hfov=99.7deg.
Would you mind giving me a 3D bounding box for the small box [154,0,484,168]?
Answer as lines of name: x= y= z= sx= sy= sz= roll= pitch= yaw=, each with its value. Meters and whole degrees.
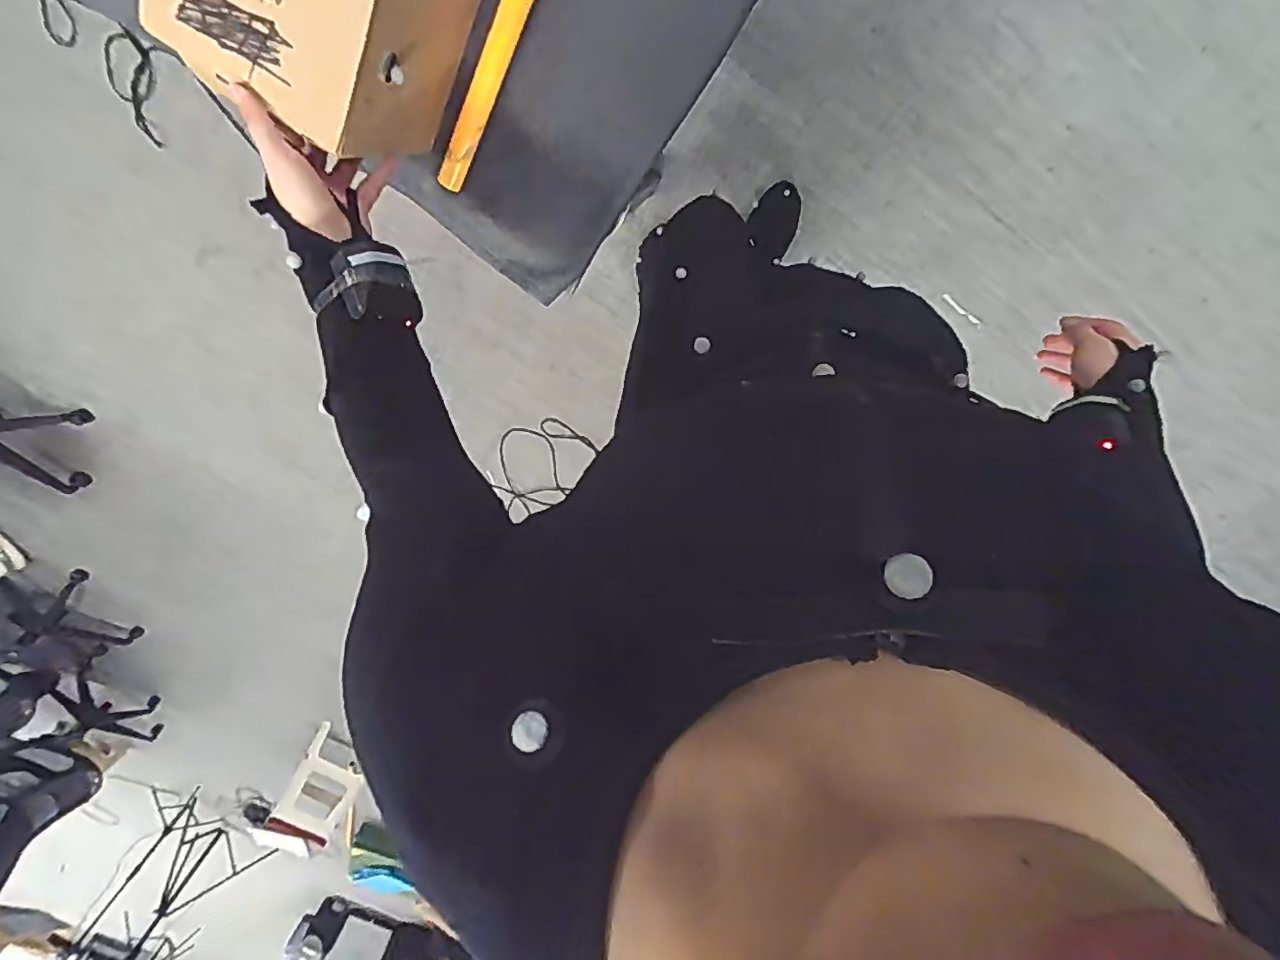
small box: x=-0.258 y=-0.403 z=0.464 sx=0.168 sy=0.176 sz=0.179 roll=31 pitch=121 yaw=-11
